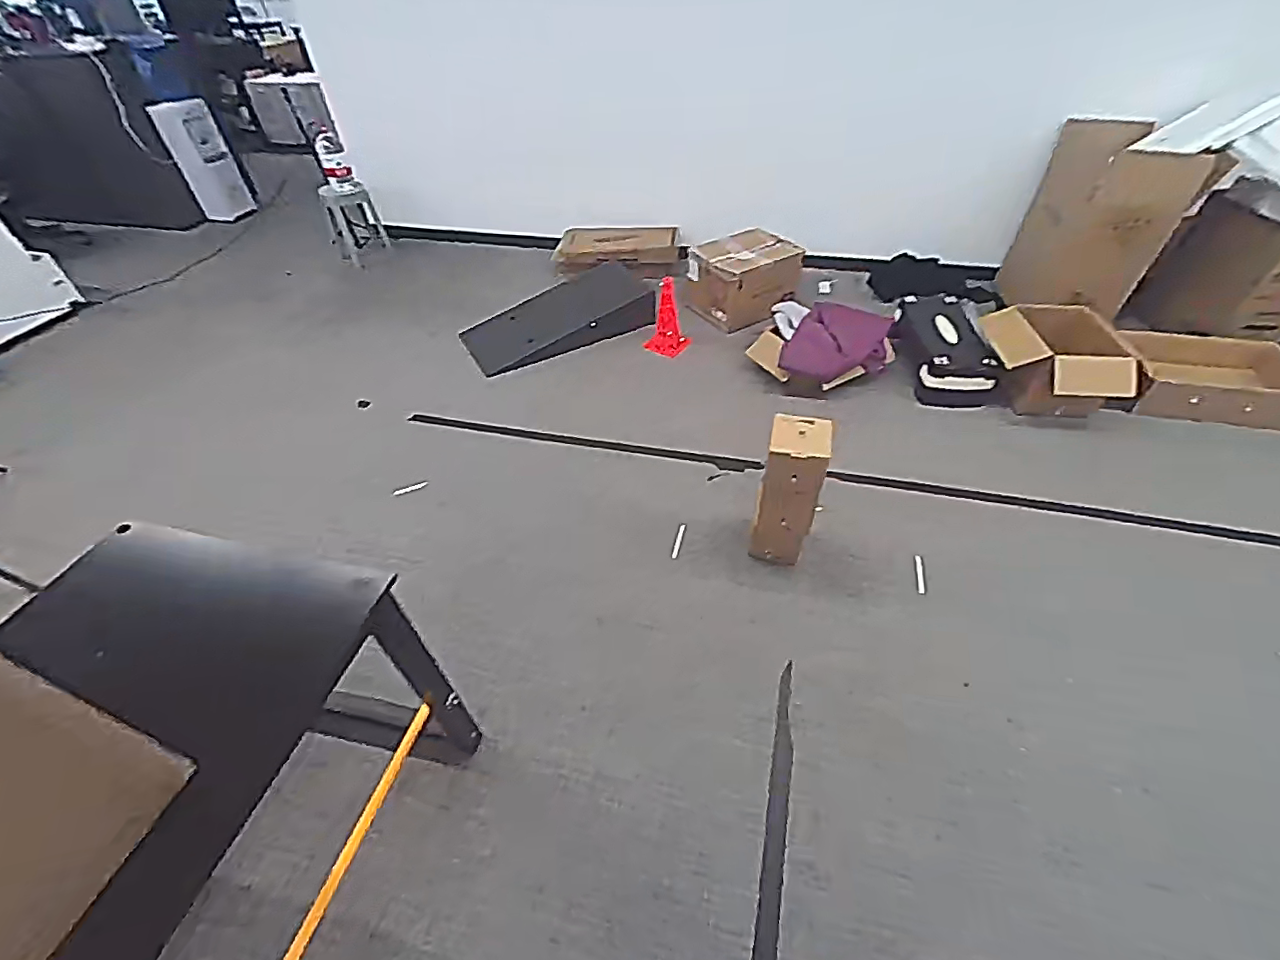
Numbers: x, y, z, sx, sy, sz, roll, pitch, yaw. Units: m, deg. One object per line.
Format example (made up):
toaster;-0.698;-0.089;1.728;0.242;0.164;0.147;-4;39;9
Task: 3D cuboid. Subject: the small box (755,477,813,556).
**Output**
small box;0.470;0.118;1.759;0.168;0.176;0.179;8;47;12

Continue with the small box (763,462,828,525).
small box;0.470;0.008;1.635;0.168;0.176;0.179;9;46;12

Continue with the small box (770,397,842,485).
small box;0.464;-0.107;1.519;0.168;0.176;0.179;9;46;12
